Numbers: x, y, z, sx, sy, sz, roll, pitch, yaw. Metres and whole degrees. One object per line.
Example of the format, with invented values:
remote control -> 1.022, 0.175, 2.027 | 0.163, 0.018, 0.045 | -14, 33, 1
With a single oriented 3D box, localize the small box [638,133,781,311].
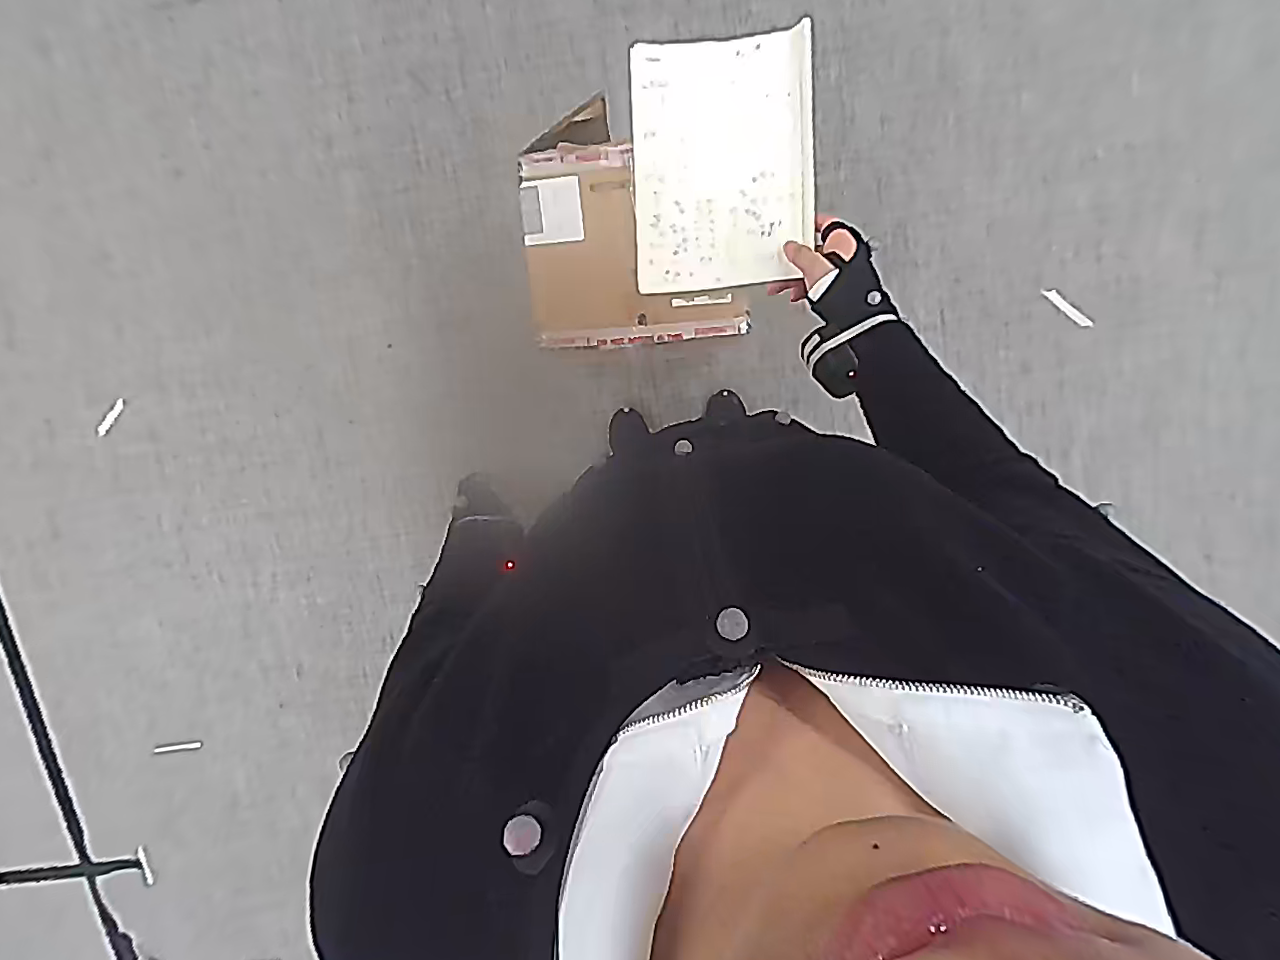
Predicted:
small box -> 0.083, -0.329, 0.718 | 0.168, 0.176, 0.179 | -2, 100, 0

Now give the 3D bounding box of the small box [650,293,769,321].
small box -> 0.101, -0.360, 0.880 | 0.179, 0.176, 0.168 | -6, 99, 1
